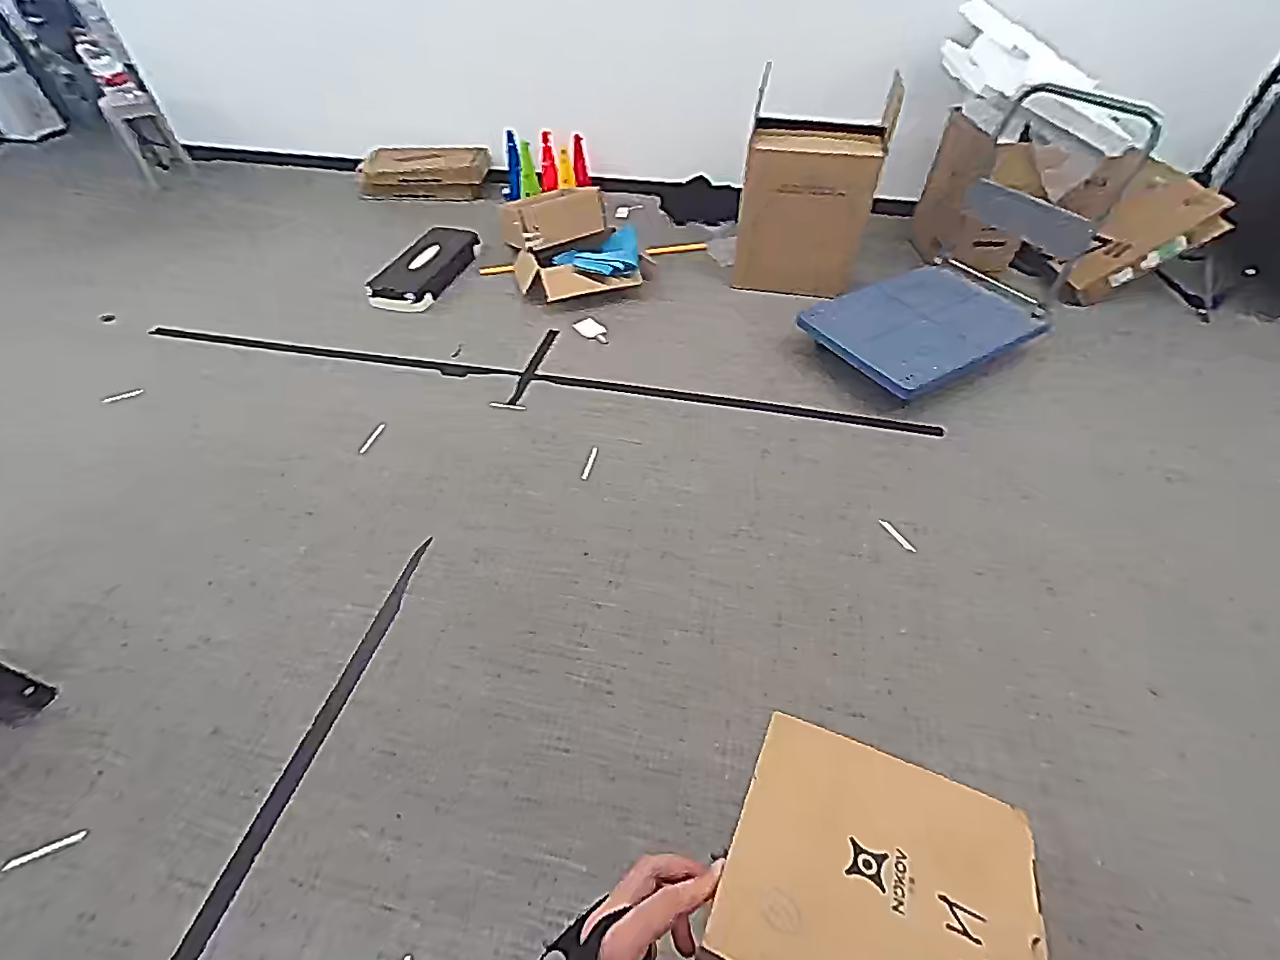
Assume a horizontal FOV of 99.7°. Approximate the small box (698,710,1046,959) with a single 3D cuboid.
[{"bbox_3d":[0.143,0.304,0.370,0.179,0.176,0.168,15,35,21],"label":"small box"}]
